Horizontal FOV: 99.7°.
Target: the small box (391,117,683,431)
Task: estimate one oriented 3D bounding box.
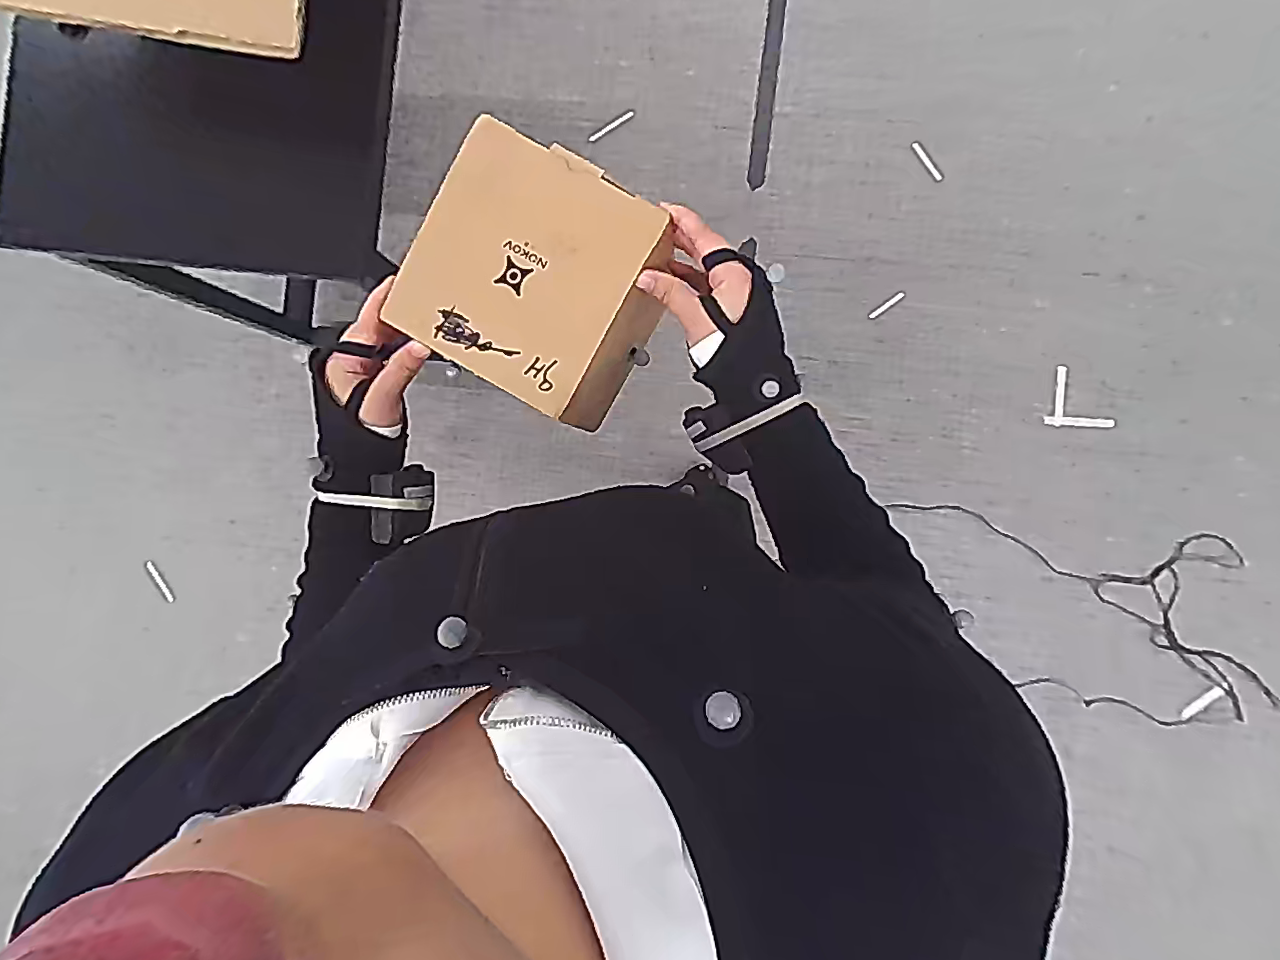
[{"bbox_3d":[-0.074,-0.161,0.487,0.168,0.176,0.179,31,93,5],"label":"small box"}]
